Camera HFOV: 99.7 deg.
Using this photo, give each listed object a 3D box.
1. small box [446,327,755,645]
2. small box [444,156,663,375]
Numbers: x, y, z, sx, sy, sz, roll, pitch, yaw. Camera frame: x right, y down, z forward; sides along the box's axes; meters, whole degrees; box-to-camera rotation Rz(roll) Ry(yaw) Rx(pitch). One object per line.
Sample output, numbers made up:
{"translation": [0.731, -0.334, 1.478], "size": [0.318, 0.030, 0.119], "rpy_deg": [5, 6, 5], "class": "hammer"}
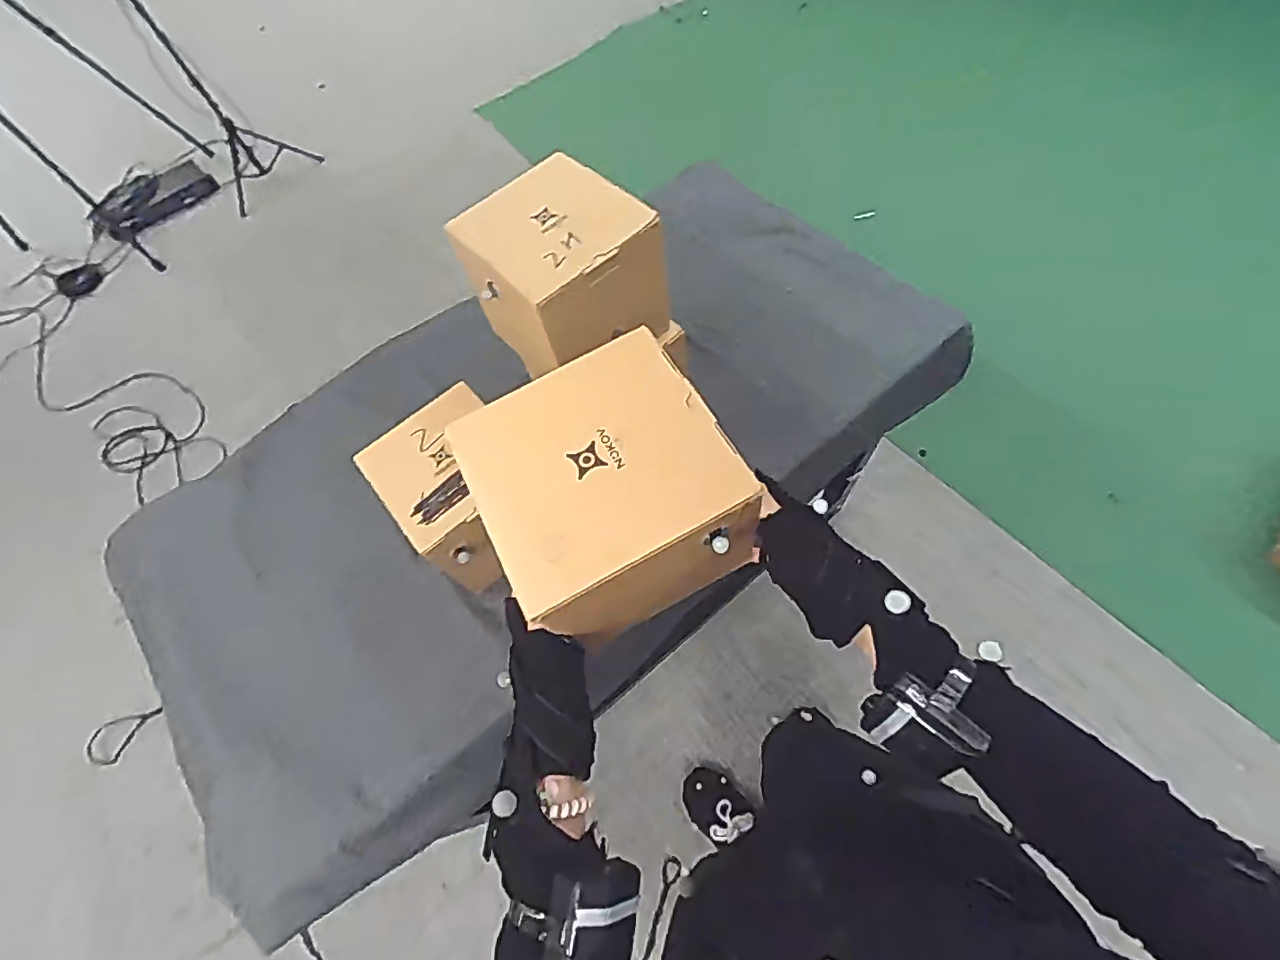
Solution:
{"translation": [-0.023, 0.017, 0.447], "size": [0.179, 0.176, 0.168], "rpy_deg": [-28, 65, -6], "class": "small box"}
{"translation": [-0.091, -0.234, 0.641], "size": [0.168, 0.176, 0.179], "rpy_deg": [-41, 67, -13], "class": "small box"}
